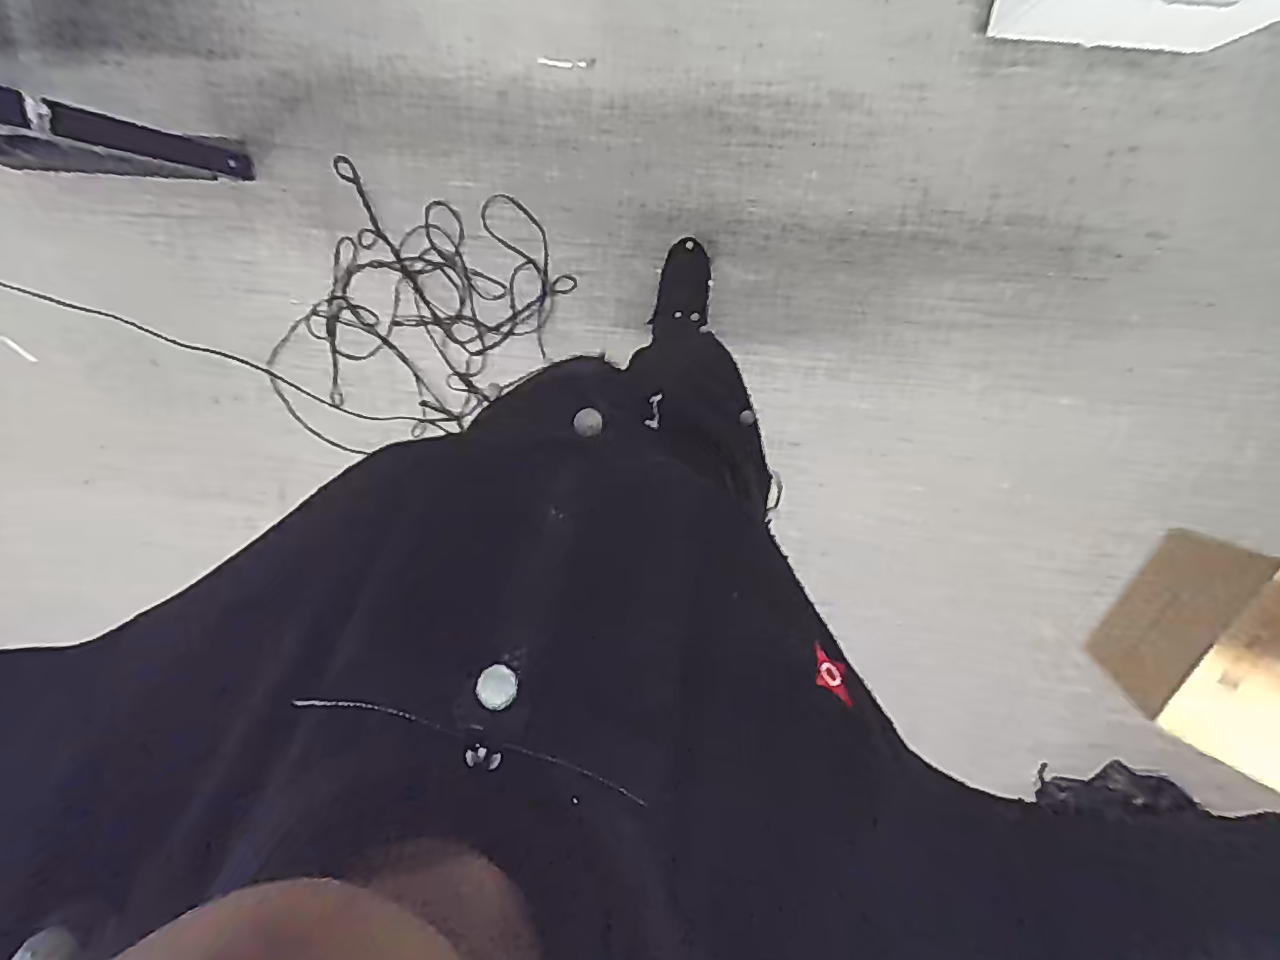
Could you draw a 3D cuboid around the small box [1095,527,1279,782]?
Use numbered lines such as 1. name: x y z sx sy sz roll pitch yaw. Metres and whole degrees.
1. small box: 0.576 0.159 0.502 0.176 0.179 0.168 30 107 23
